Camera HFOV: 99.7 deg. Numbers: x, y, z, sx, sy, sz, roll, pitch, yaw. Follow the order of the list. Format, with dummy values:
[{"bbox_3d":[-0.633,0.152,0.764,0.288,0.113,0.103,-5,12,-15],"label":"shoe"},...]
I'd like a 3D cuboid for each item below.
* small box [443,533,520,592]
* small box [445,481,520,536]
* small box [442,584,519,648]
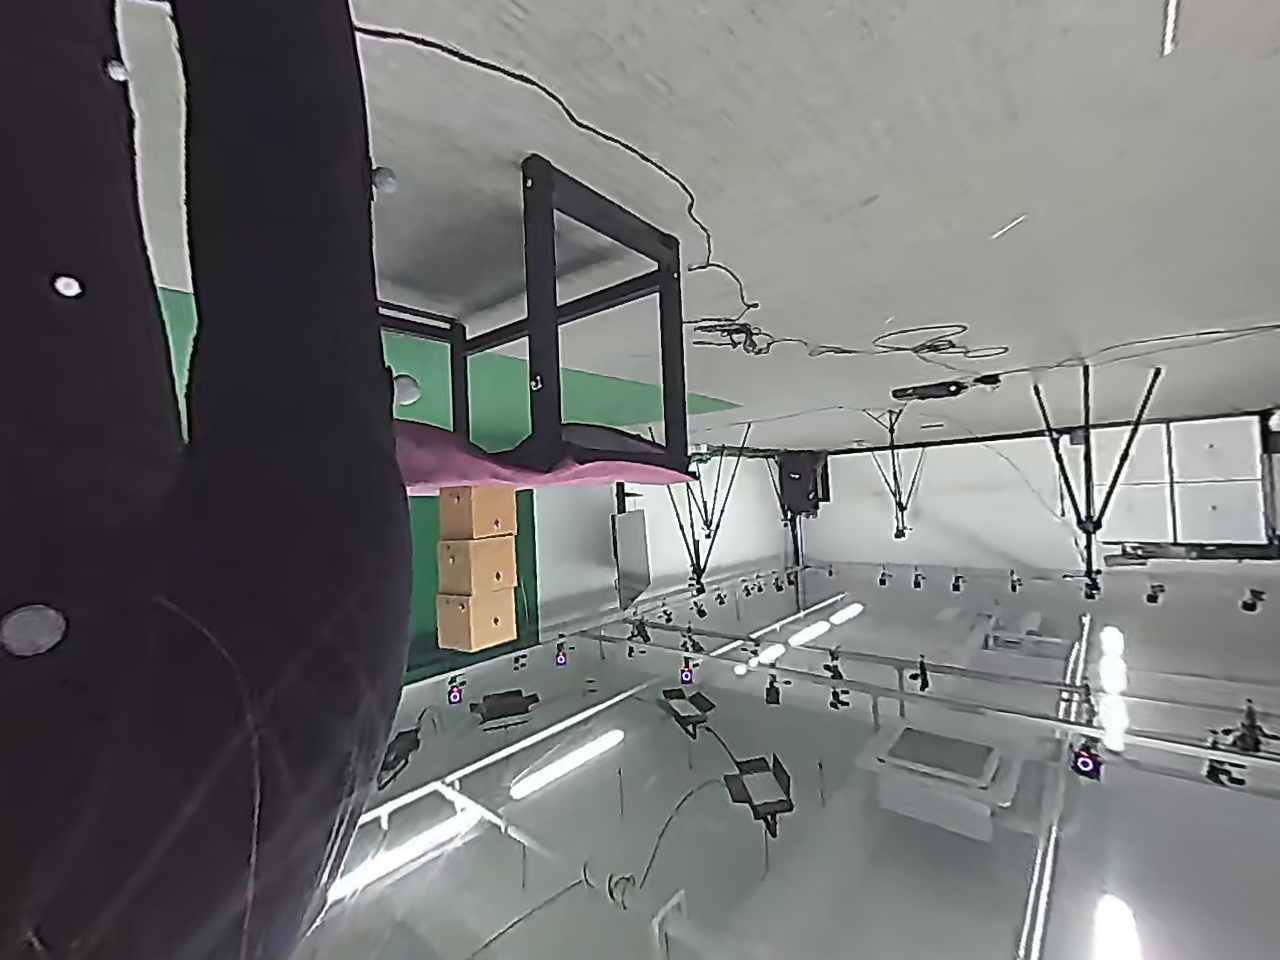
[{"bbox_3d":[-0.504,0.252,1.714,0.168,0.176,0.179,-5,177,37],"label":"small box"},{"bbox_3d":[-0.505,0.089,1.735,0.168,0.176,0.179,-5,177,35],"label":"small box"},{"bbox_3d":[-0.504,0.416,1.703,0.168,0.176,0.179,-5,178,36],"label":"small box"}]
